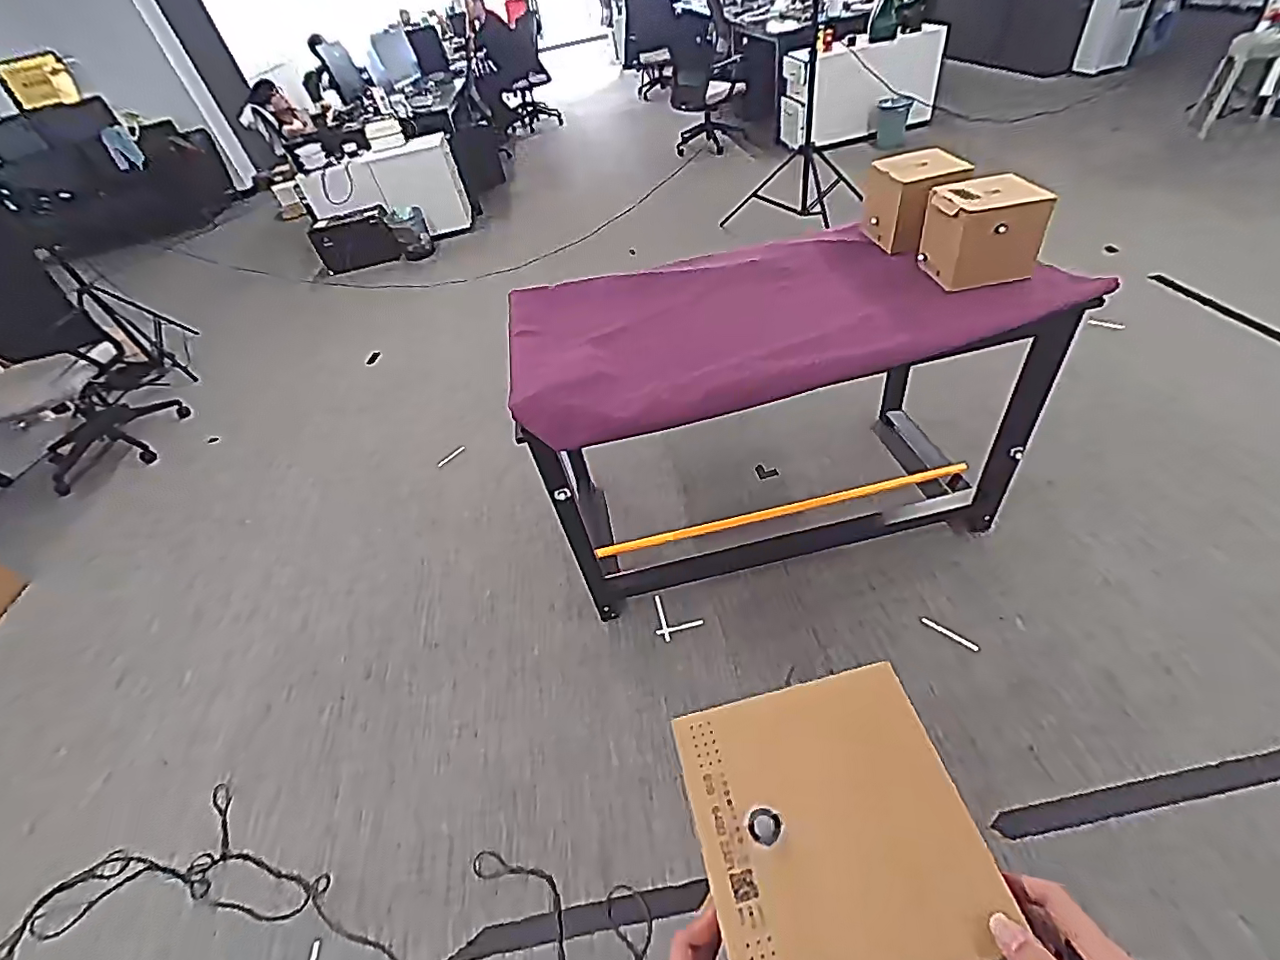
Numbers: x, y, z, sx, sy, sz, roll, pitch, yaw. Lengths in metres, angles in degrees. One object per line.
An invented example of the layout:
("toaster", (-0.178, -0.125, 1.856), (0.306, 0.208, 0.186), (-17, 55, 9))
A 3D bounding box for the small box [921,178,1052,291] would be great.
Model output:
("small box", (0.734, -0.530, 1.176), (0.179, 0.176, 0.168), (-9, 43, 3))

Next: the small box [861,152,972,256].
("small box", (0.675, -0.684, 1.344), (0.179, 0.176, 0.168), (-13, 45, -1))
